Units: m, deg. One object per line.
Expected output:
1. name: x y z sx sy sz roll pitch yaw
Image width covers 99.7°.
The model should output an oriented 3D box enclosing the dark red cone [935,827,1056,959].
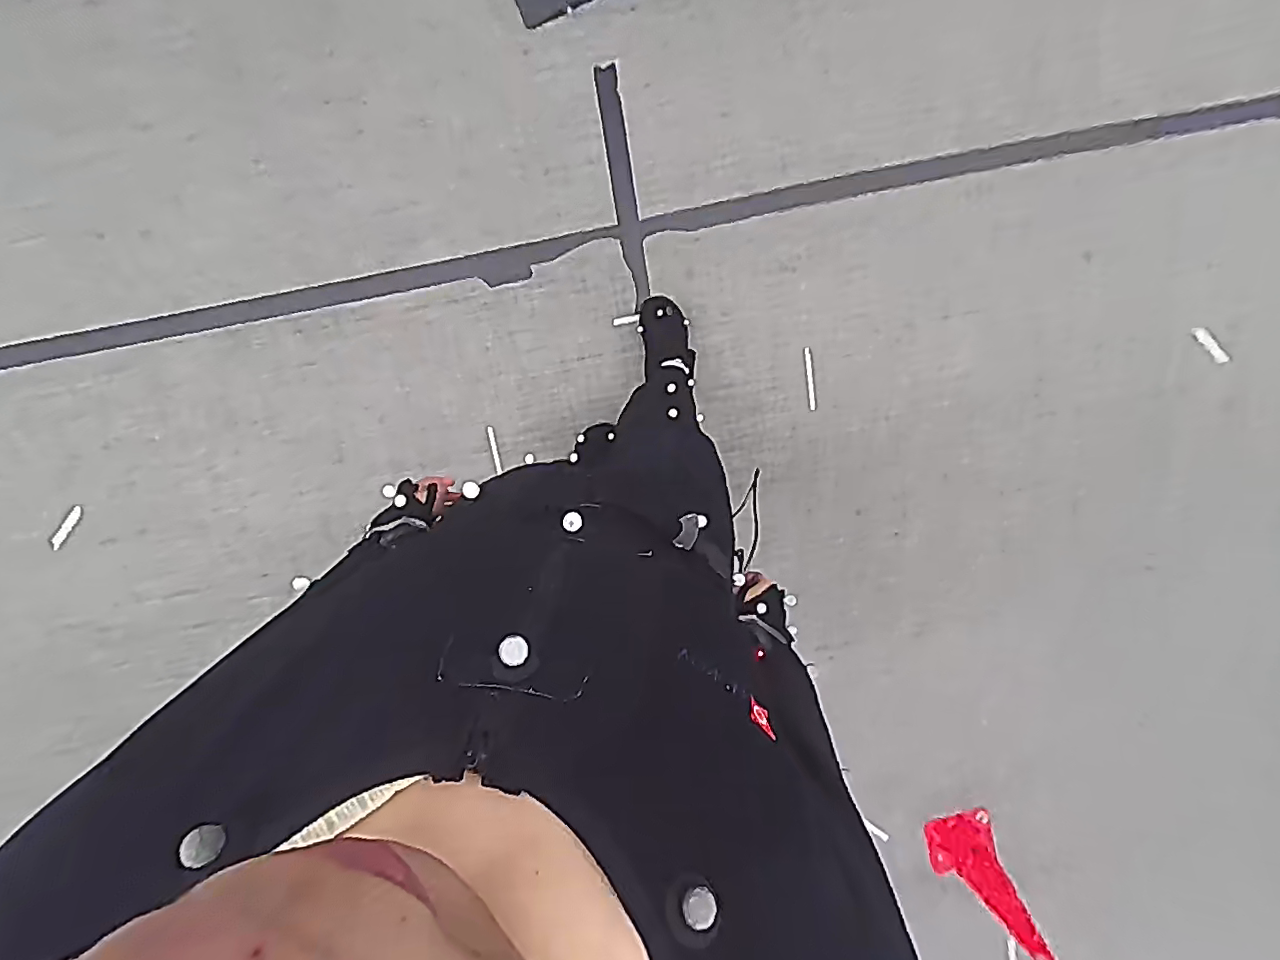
1. dark red cone: 0.973 1.145 1.420 0.201 0.394 0.202 -17 102 3
